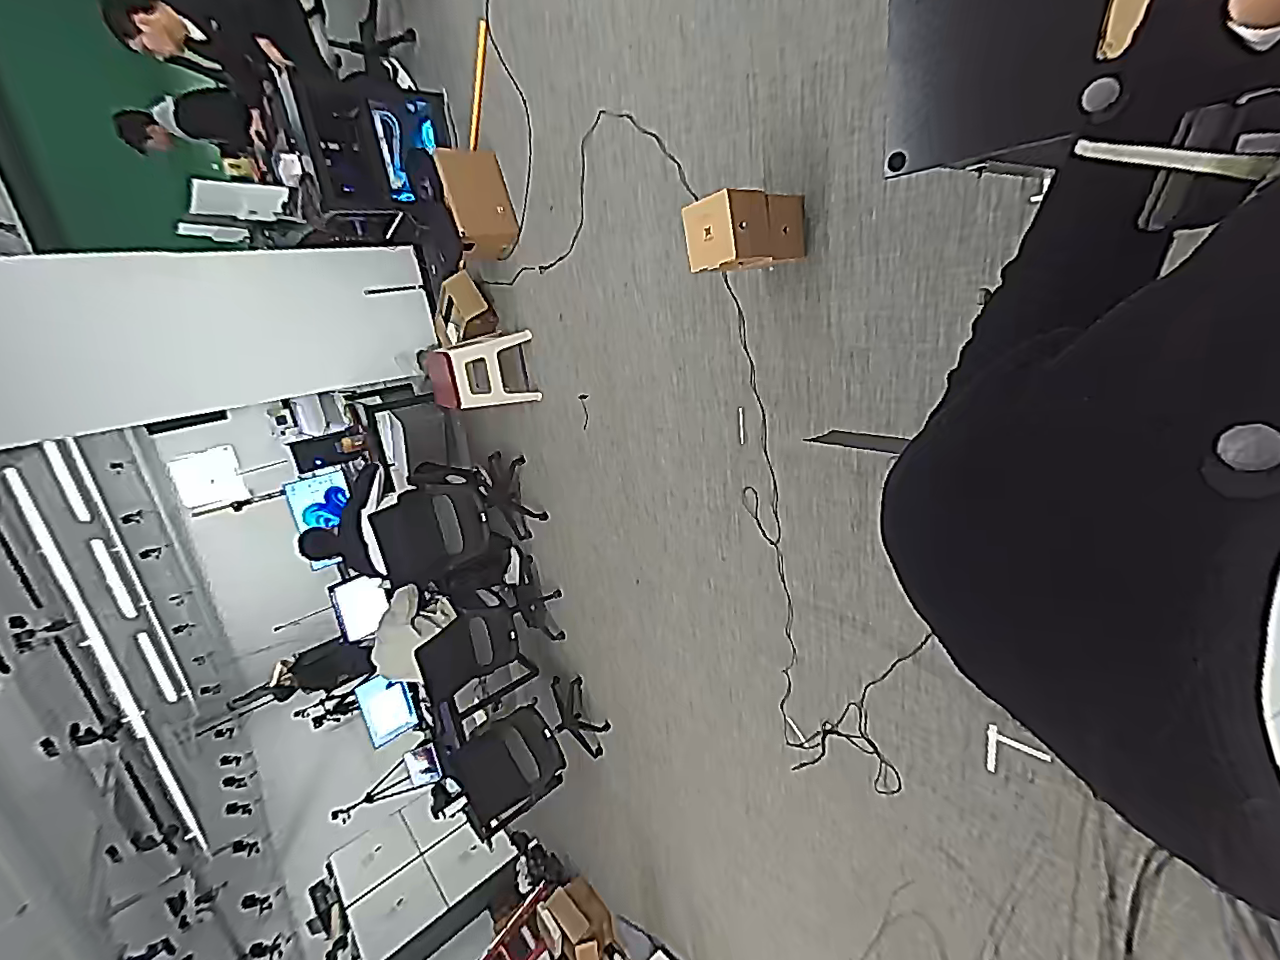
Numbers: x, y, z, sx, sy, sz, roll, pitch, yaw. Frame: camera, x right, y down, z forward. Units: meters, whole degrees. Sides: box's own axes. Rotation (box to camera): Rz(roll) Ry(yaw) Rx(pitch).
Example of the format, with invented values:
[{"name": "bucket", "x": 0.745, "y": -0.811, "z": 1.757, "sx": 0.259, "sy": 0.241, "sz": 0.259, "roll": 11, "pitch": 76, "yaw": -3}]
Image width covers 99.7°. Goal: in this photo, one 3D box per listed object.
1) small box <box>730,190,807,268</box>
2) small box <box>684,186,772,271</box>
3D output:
[{"name": "small box", "x": 0.371, "y": -0.733, "z": 1.589, "sx": 0.168, "sy": 0.176, "sz": 0.179, "roll": 10, "pitch": 116, "yaw": 49}, {"name": "small box", "x": 0.247, "y": -0.691, "z": 1.492, "sx": 0.168, "sy": 0.176, "sz": 0.179, "roll": 5, "pitch": 110, "yaw": 50}]
